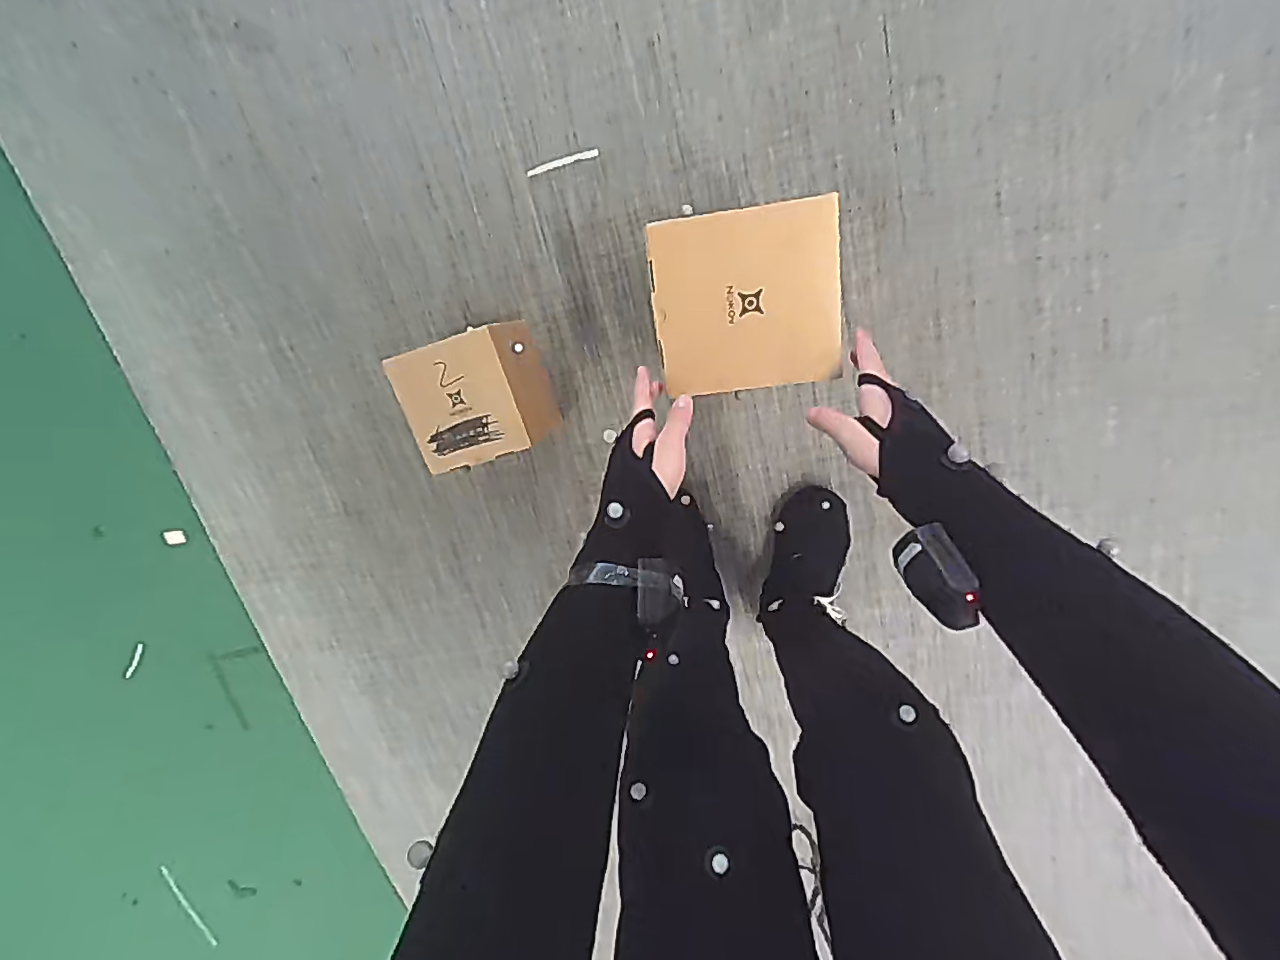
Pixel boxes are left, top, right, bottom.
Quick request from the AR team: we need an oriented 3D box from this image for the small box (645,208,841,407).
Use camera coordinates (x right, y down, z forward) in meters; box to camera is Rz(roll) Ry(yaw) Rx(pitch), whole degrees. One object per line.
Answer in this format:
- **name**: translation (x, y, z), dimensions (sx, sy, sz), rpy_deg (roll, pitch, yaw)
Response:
- **small box**: translation (0.109, -0.185, 0.590), dimensions (0.179, 0.176, 0.168), rpy_deg (-6, 108, 10)
